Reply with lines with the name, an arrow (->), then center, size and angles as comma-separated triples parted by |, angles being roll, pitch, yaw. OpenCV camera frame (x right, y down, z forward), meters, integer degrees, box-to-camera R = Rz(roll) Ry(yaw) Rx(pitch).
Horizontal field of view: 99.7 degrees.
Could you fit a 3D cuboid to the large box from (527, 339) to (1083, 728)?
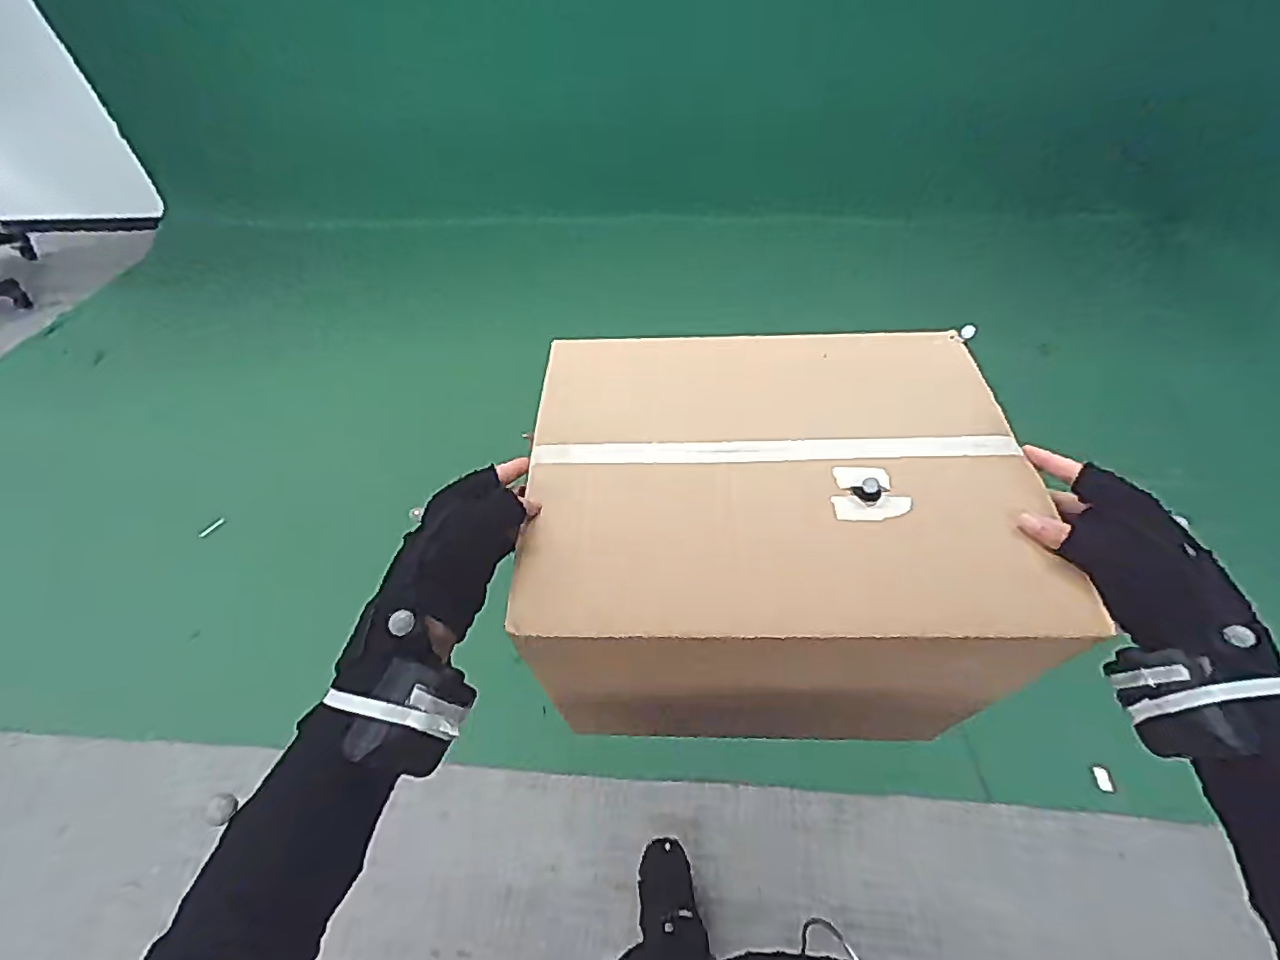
large box -> 0.118, 0.069, 0.589 | 0.408, 0.320, 0.320 | 0, 54, 2
